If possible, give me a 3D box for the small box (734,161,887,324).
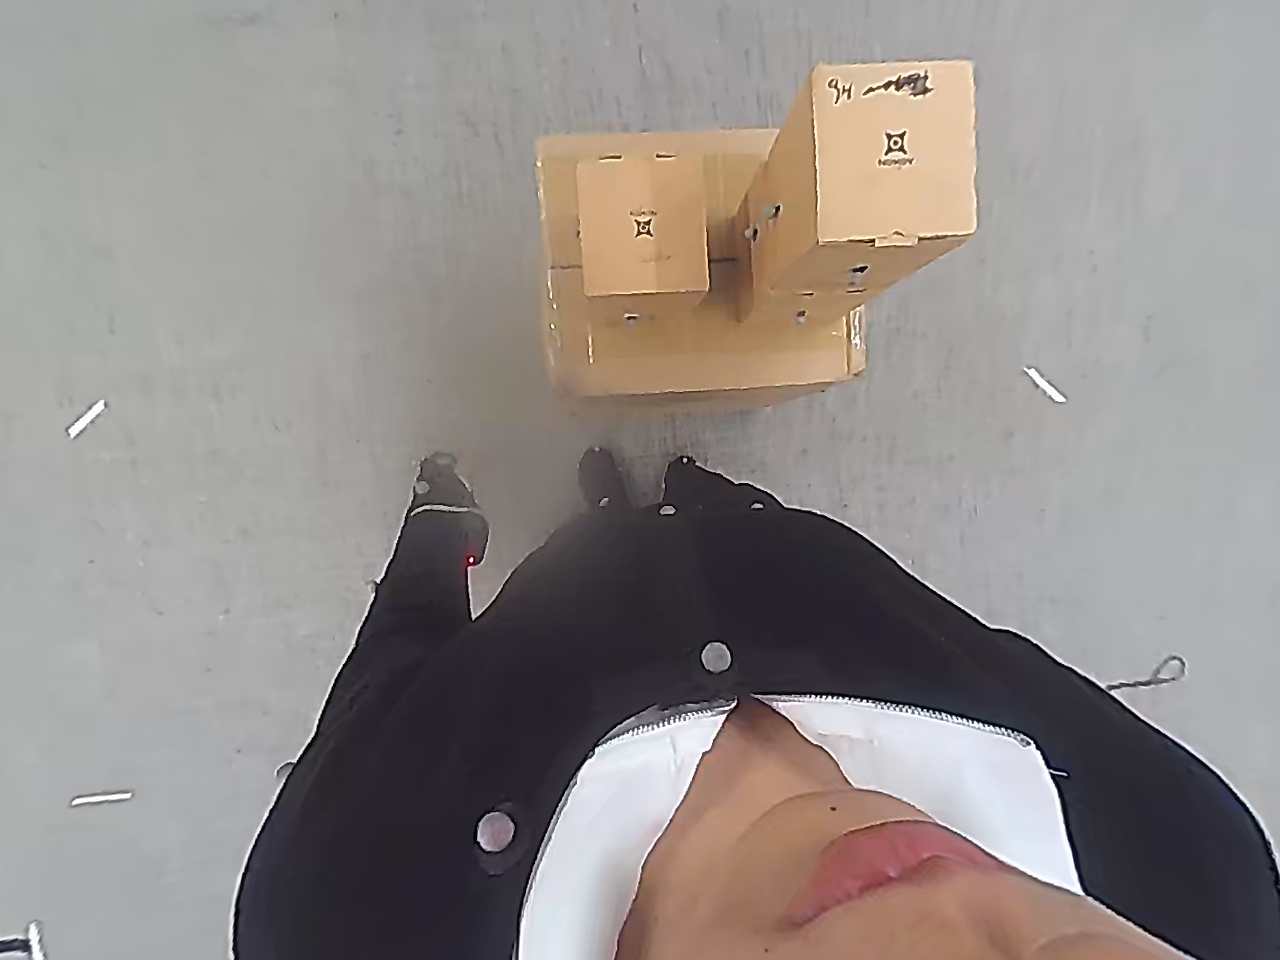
[{"bbox_3d":[0.238,-0.339,0.791,0.168,0.176,0.179,-5,93,-1],"label":"small box"}]

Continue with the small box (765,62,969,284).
[{"bbox_3d":[0.248,-0.336,0.627,0.168,0.176,0.179,-3,94,-2],"label":"small box"}]

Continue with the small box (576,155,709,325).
[{"bbox_3d":[-0.002,-0.333,0.778,0.168,0.176,0.179,-5,94,-3],"label":"small box"}]
